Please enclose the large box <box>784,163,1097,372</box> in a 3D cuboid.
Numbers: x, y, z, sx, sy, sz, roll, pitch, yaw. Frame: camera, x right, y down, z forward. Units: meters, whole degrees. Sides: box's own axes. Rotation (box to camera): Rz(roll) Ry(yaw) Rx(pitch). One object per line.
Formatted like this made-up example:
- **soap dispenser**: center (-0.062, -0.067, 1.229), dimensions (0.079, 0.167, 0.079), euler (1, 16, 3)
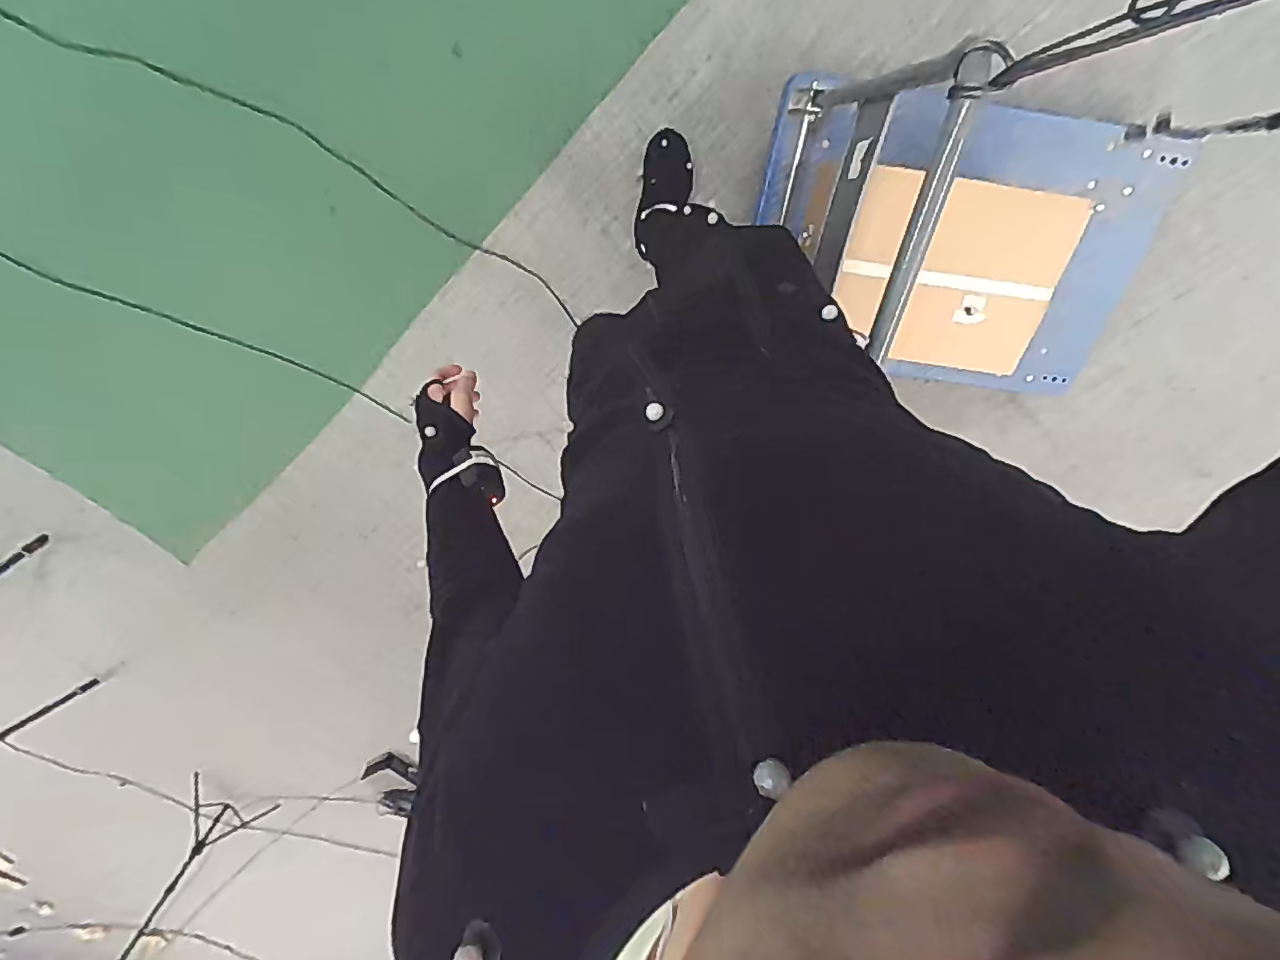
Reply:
- **large box**: center (0.550, -0.437, 1.095), dimensions (0.408, 0.320, 0.320), euler (8, 121, -3)
